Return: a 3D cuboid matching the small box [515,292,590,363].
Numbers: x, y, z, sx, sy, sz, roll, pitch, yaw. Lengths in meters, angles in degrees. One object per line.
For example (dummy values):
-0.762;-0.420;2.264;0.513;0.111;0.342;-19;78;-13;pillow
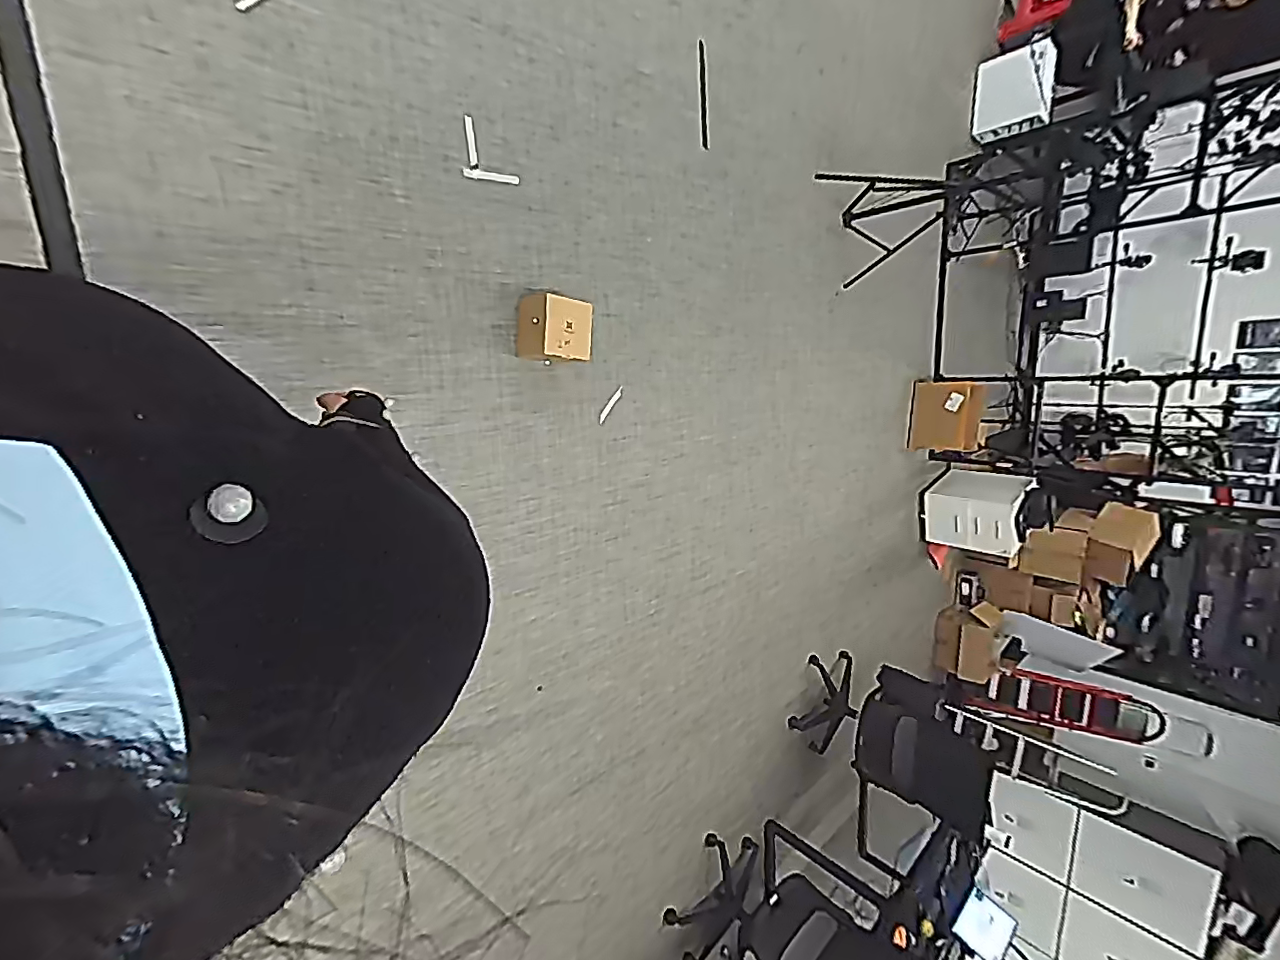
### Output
-0.272;-0.460;1.660;0.168;0.176;0.179;-1;98;-42;small box
